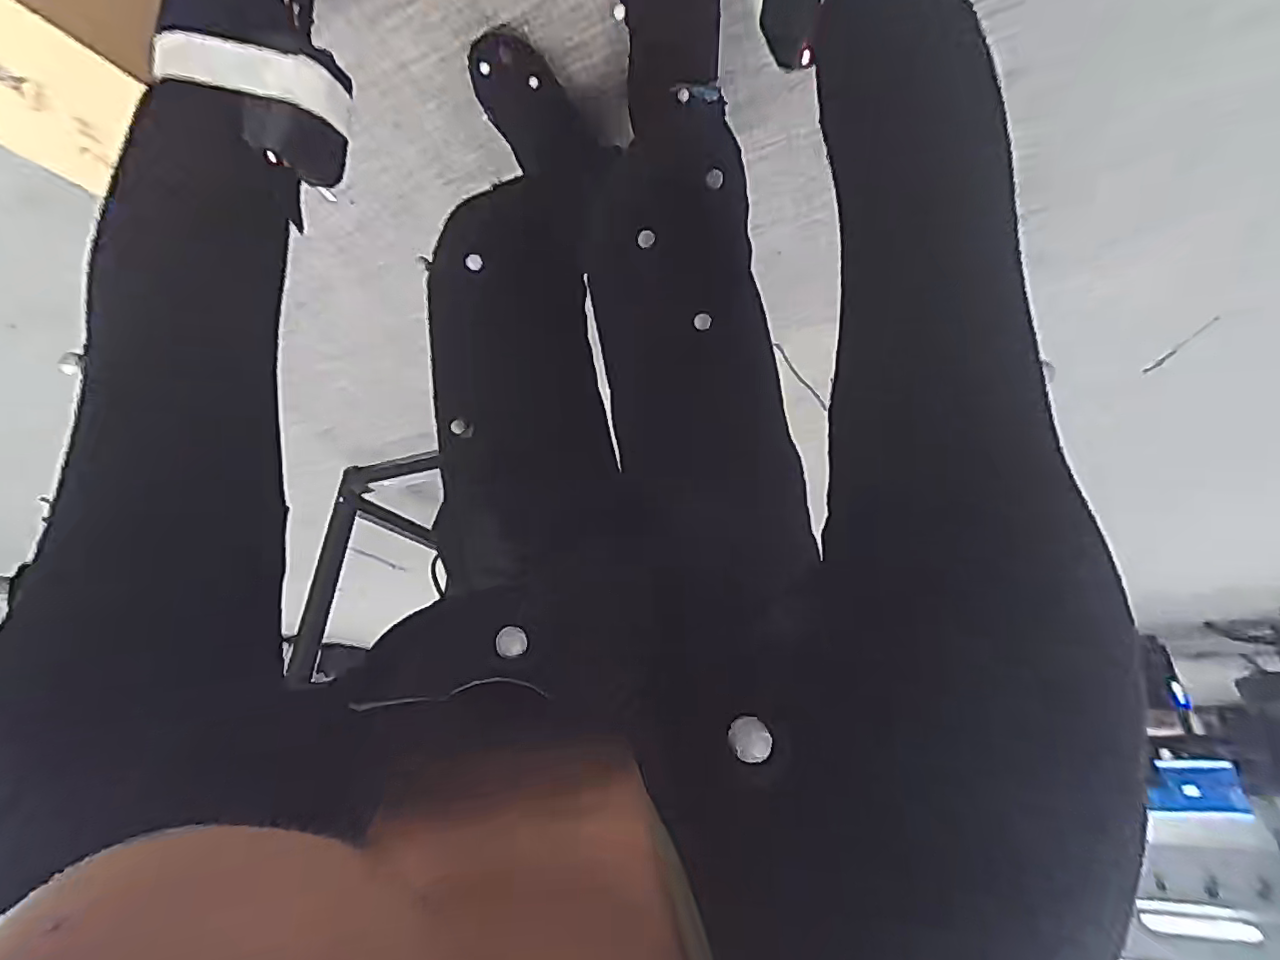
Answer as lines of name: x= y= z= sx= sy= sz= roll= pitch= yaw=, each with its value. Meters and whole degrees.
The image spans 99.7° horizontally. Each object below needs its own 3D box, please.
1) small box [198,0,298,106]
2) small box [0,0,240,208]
small box: x=-0.499 y=-0.547 z=0.569 sx=0.168 sy=0.176 sz=0.179 roll=-10 pitch=151 yaw=22
small box: x=-0.511 y=-0.403 z=0.489 sx=0.168 sy=0.176 sz=0.179 roll=-16 pitch=151 yaw=34
